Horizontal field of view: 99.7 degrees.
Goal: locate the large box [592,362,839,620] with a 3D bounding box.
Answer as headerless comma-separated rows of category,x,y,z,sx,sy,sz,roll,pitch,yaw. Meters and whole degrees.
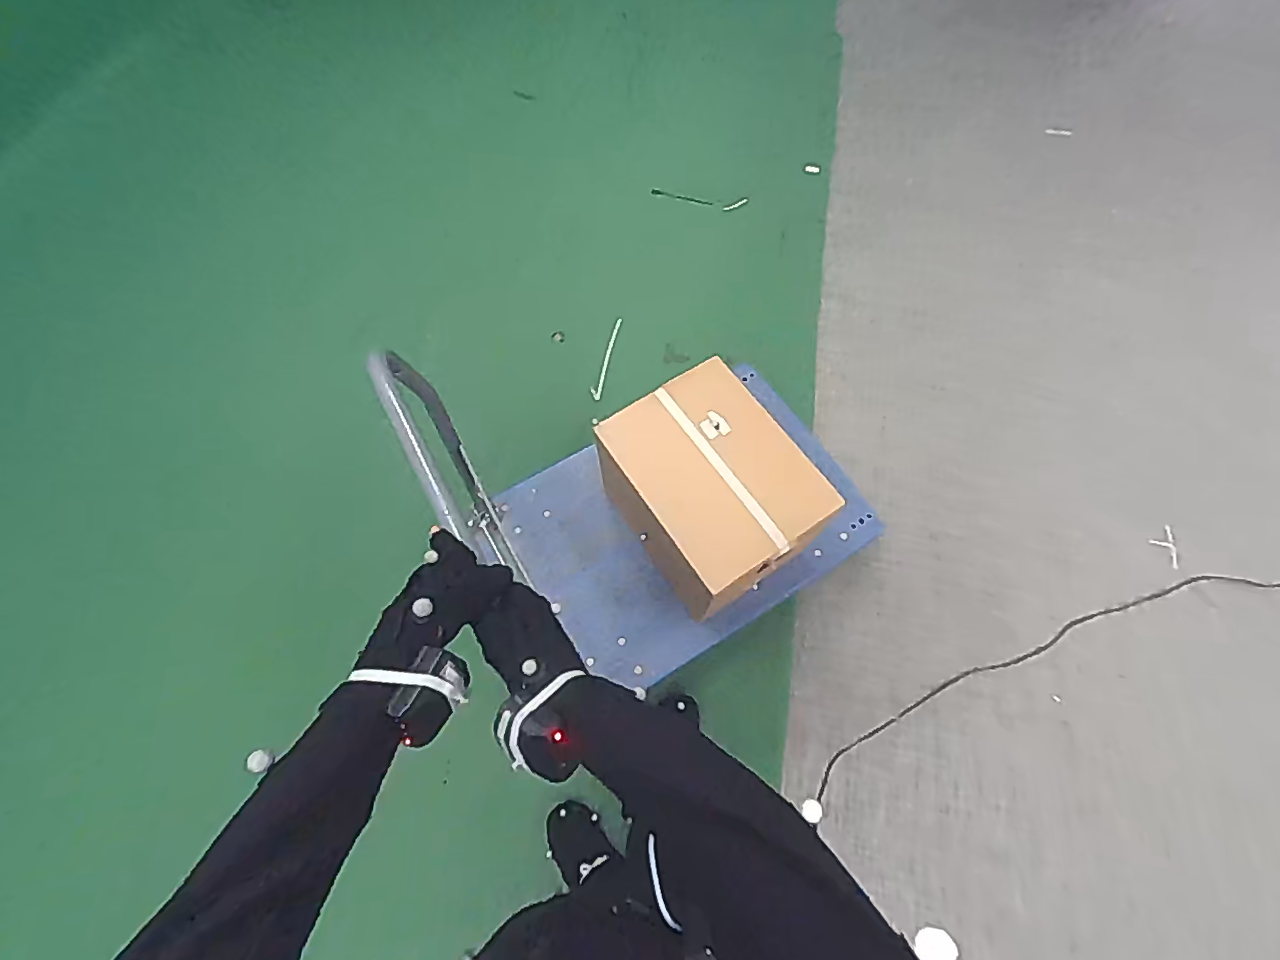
large box,0.142,0.035,1.180,0.320,0.320,0.408,-31,69,-13
